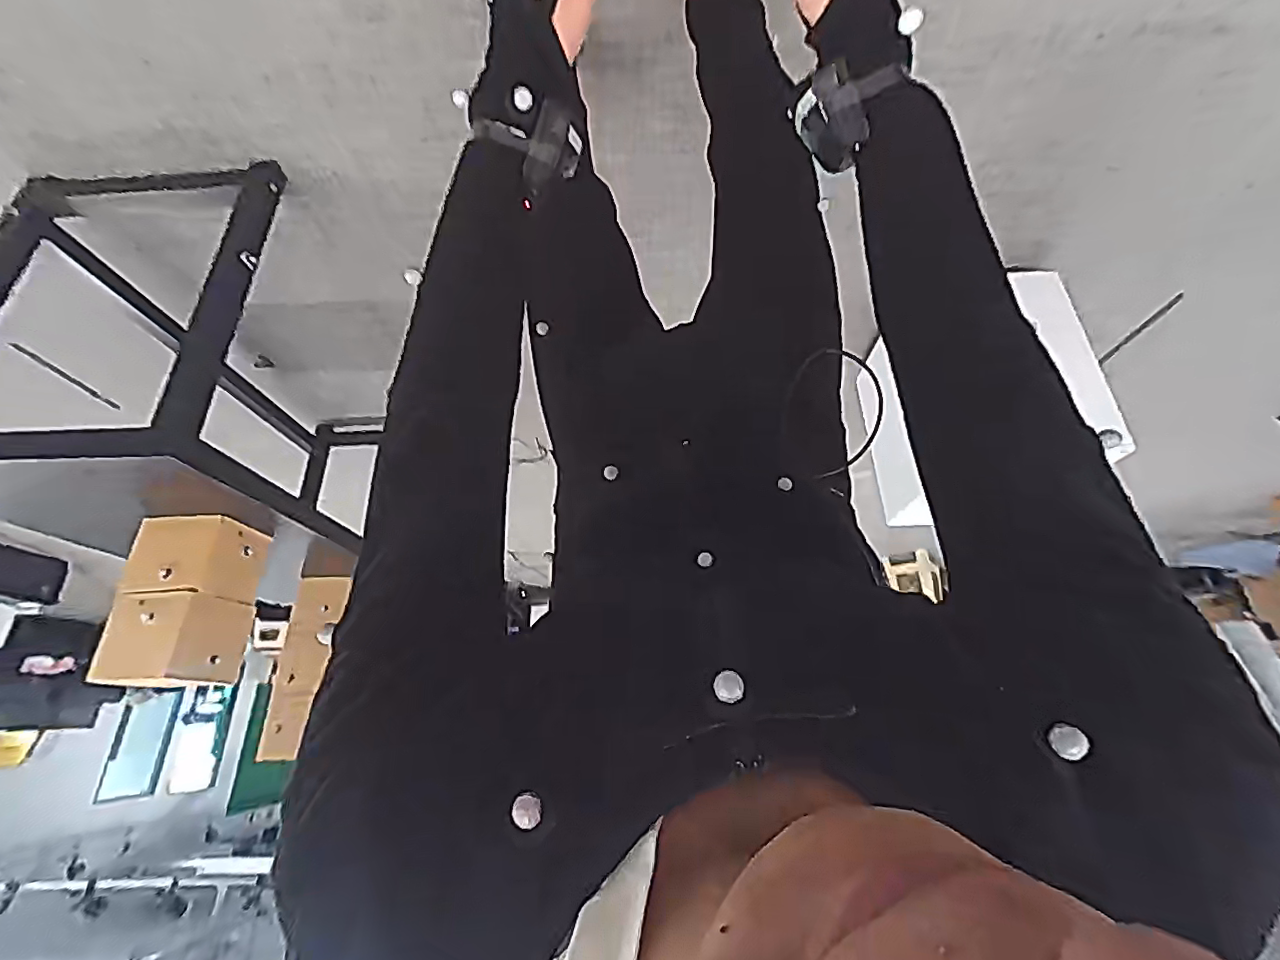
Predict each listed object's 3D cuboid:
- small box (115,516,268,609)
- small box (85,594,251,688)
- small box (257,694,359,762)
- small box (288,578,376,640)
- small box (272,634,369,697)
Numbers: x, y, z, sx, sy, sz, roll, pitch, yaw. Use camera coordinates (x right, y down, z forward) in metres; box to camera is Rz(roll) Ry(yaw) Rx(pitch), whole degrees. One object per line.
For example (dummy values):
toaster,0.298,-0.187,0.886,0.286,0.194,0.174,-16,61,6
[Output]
small box,-0.961,0.184,1.180,0.179,0.176,0.168,-2,156,1
small box,-0.951,0.334,1.113,0.168,0.176,0.179,-4,155,4
small box,-0.932,0.701,1.536,0.179,0.176,0.168,-3,157,2
small box,-0.938,0.402,1.670,0.179,0.176,0.168,-3,156,2
small box,-0.936,0.552,1.602,0.179,0.176,0.168,-2,157,2
